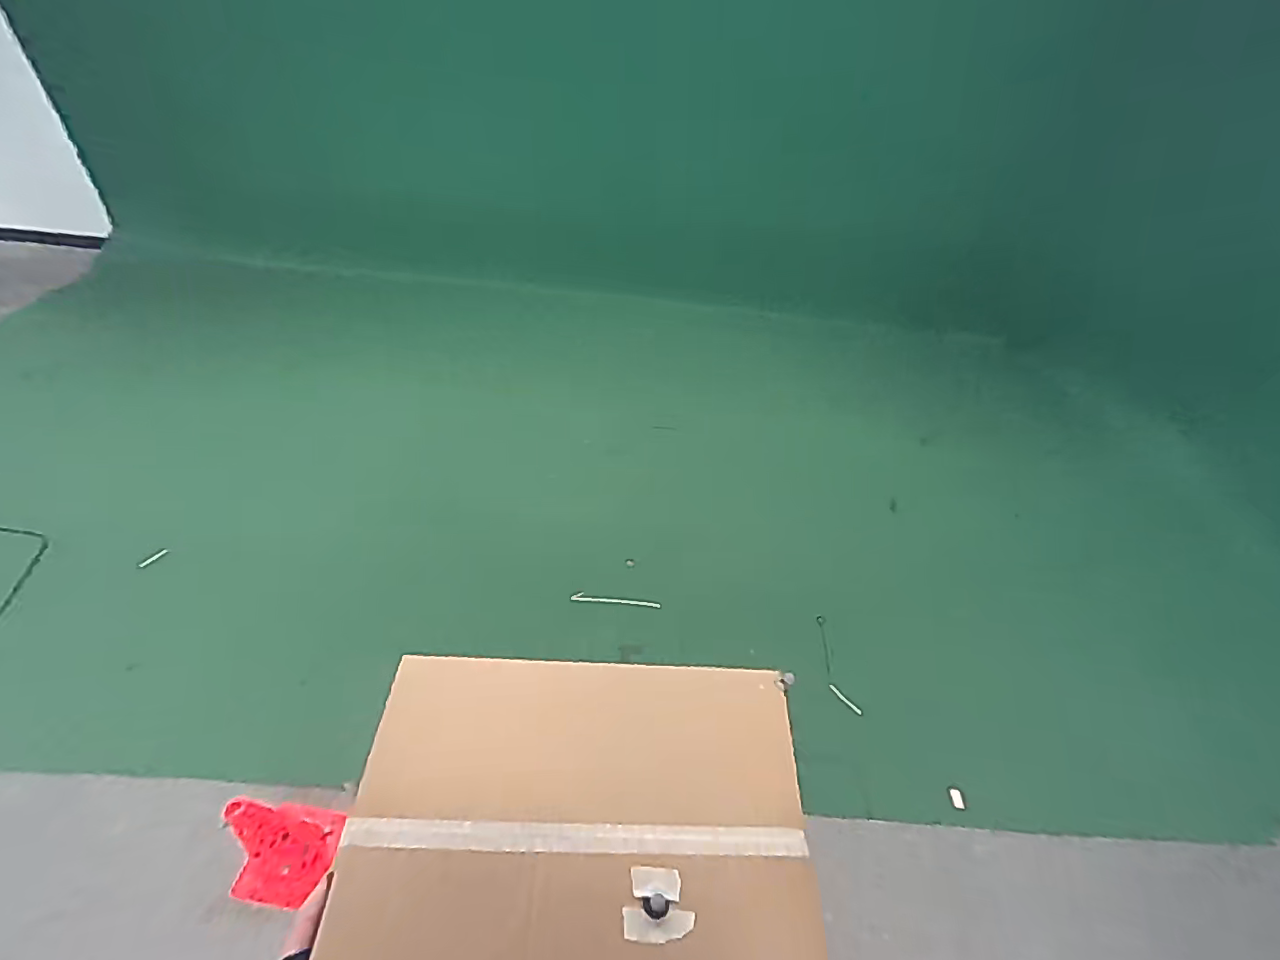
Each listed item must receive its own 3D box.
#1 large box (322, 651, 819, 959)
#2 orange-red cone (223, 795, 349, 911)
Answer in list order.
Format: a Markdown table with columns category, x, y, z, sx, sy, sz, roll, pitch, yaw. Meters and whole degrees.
| category | x | y | z | sx | sy | sz | roll | pitch | yaw |
| --- | --- | --- | --- | --- | --- | --- | --- | --- | --- |
| large box | -0.062 | 0.406 | 0.606 | 0.408 | 0.320 | 0.320 | 3 | 51 | -2 |
| orange-red cone | -0.828 | 0.781 | 1.194 | 0.199 | 0.360 | 0.198 | 9 | 42 | 4 |
